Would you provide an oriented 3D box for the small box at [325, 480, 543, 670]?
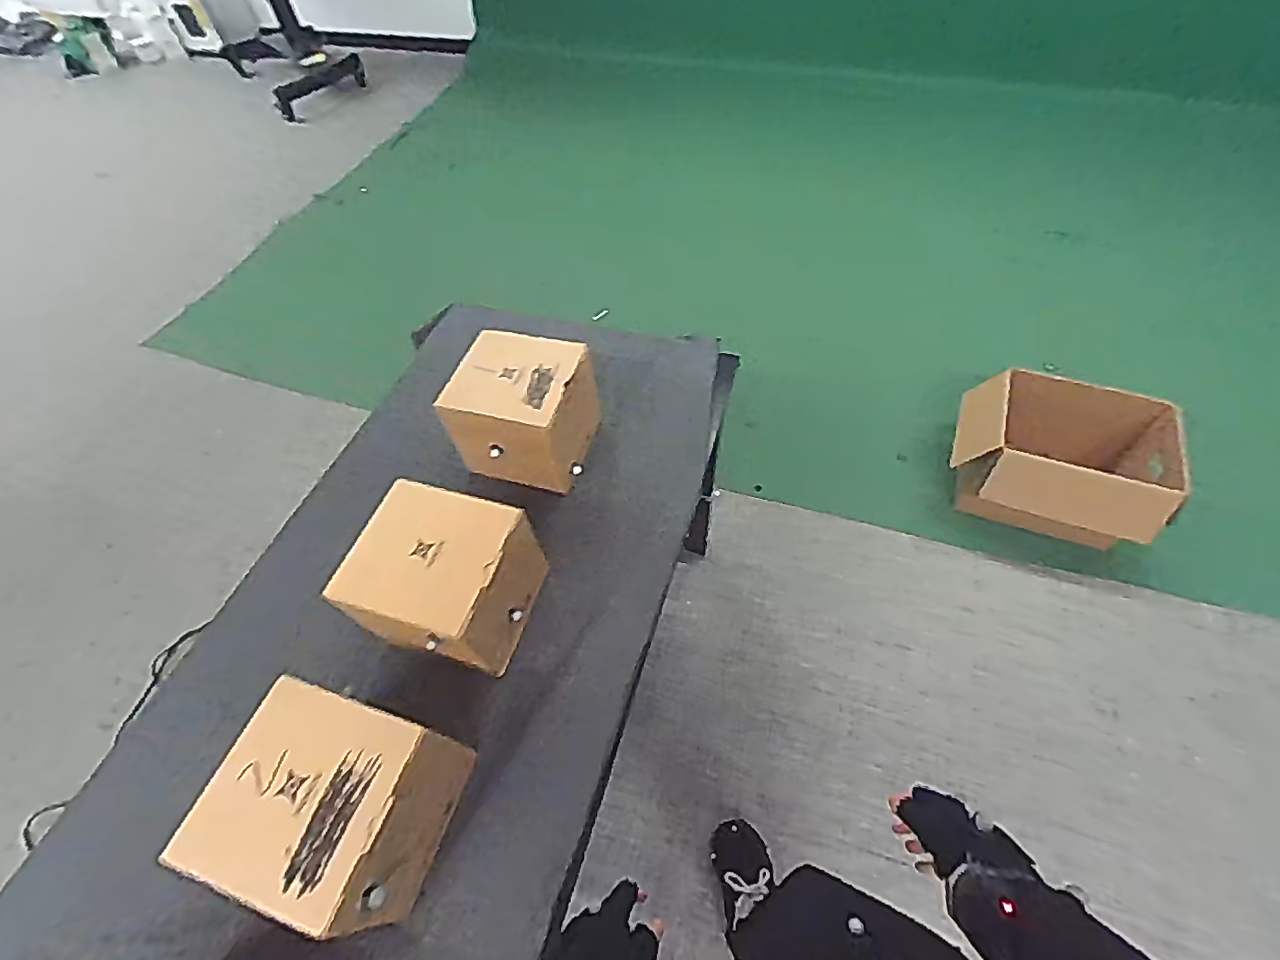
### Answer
[{"bbox_3d":[-0.246,0.127,0.697,0.179,0.176,0.168,13,57,11],"label":"small box"}]

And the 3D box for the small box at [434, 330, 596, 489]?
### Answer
[{"bbox_3d":[-0.179,-0.105,0.846,0.179,0.176,0.168,12,58,12],"label":"small box"}]
